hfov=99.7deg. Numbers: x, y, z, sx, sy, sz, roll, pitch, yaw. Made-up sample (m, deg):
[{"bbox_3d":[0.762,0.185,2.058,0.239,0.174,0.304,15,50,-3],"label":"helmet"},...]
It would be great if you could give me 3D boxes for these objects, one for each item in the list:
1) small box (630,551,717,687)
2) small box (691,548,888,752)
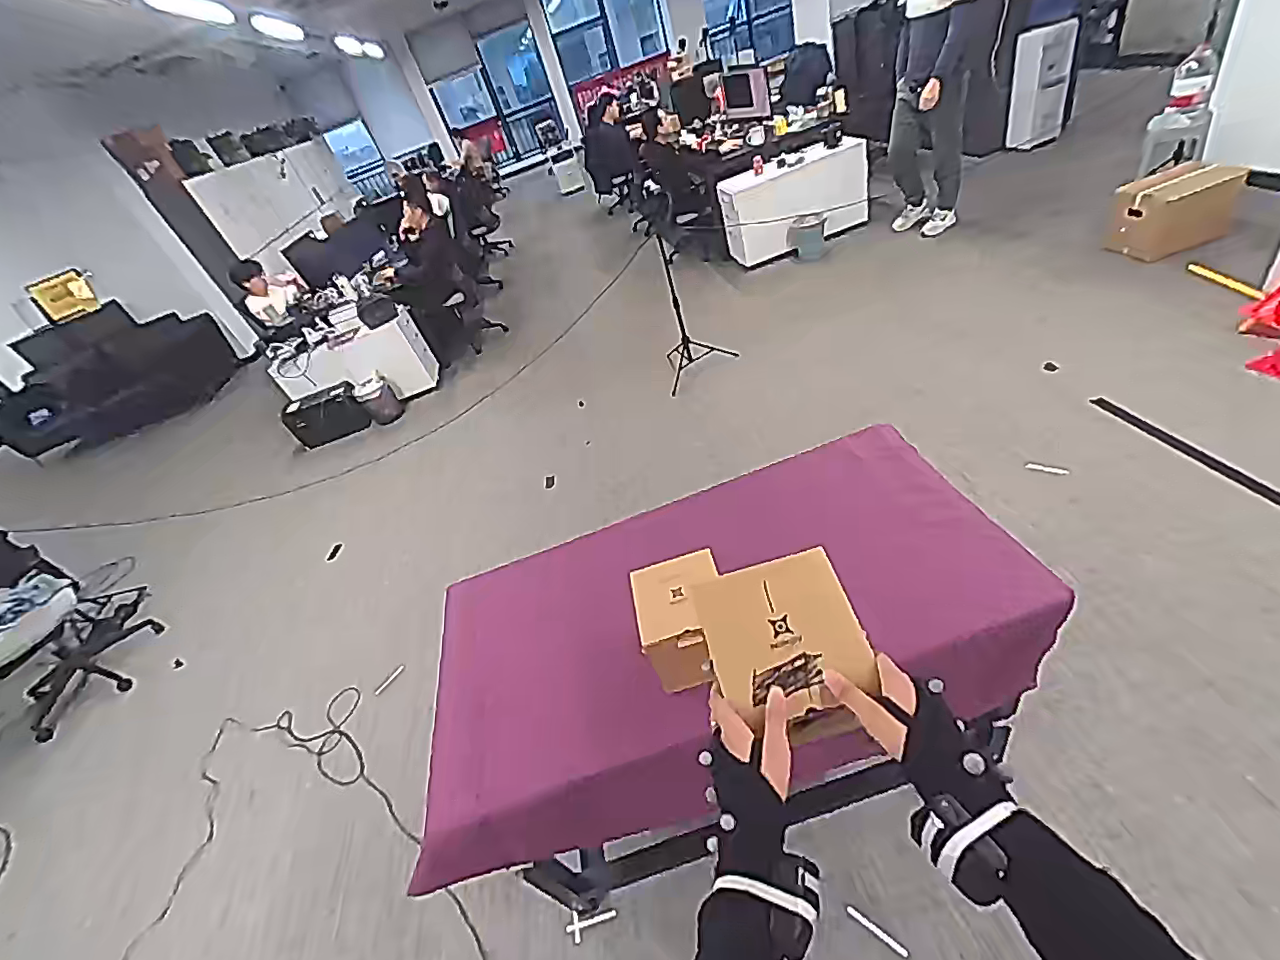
[{"bbox_3d":[0.091,0.272,1.034,0.168,0.176,0.179,-18,37,4],"label":"small box"},{"bbox_3d":[0.172,0.214,0.656,0.168,0.176,0.179,-17,53,2],"label":"small box"}]
